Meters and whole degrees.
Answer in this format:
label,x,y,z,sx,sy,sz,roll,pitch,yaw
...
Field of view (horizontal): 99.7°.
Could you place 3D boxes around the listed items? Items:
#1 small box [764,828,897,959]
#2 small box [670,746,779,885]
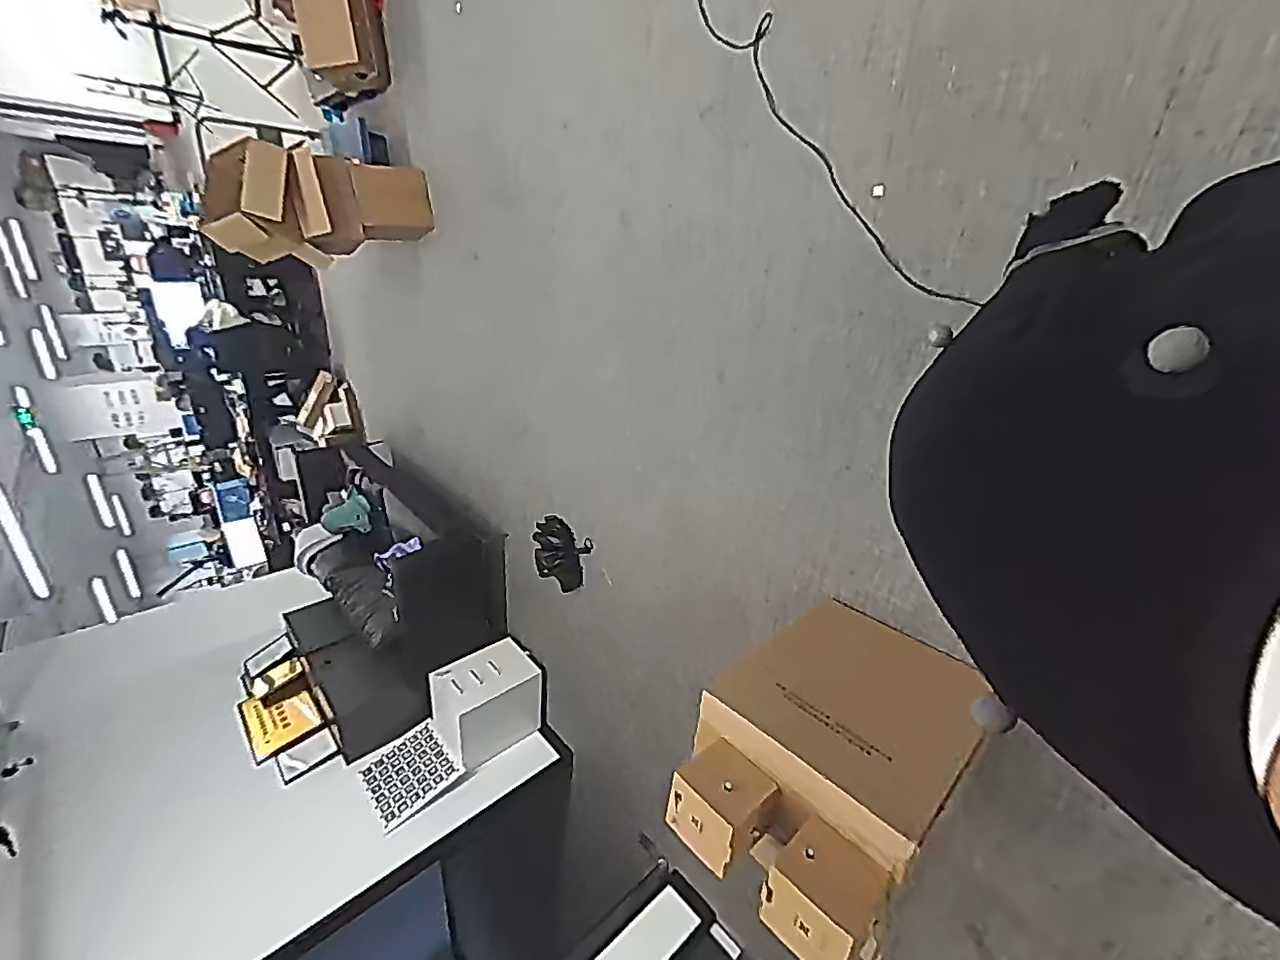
label,x,y,z,sx,sy,sz,roll,pitch,yaw
small box,0.375,0.838,1.071,0.179,0.176,0.168,22,117,41
small box,0.195,0.757,1.244,0.179,0.176,0.168,25,117,40
